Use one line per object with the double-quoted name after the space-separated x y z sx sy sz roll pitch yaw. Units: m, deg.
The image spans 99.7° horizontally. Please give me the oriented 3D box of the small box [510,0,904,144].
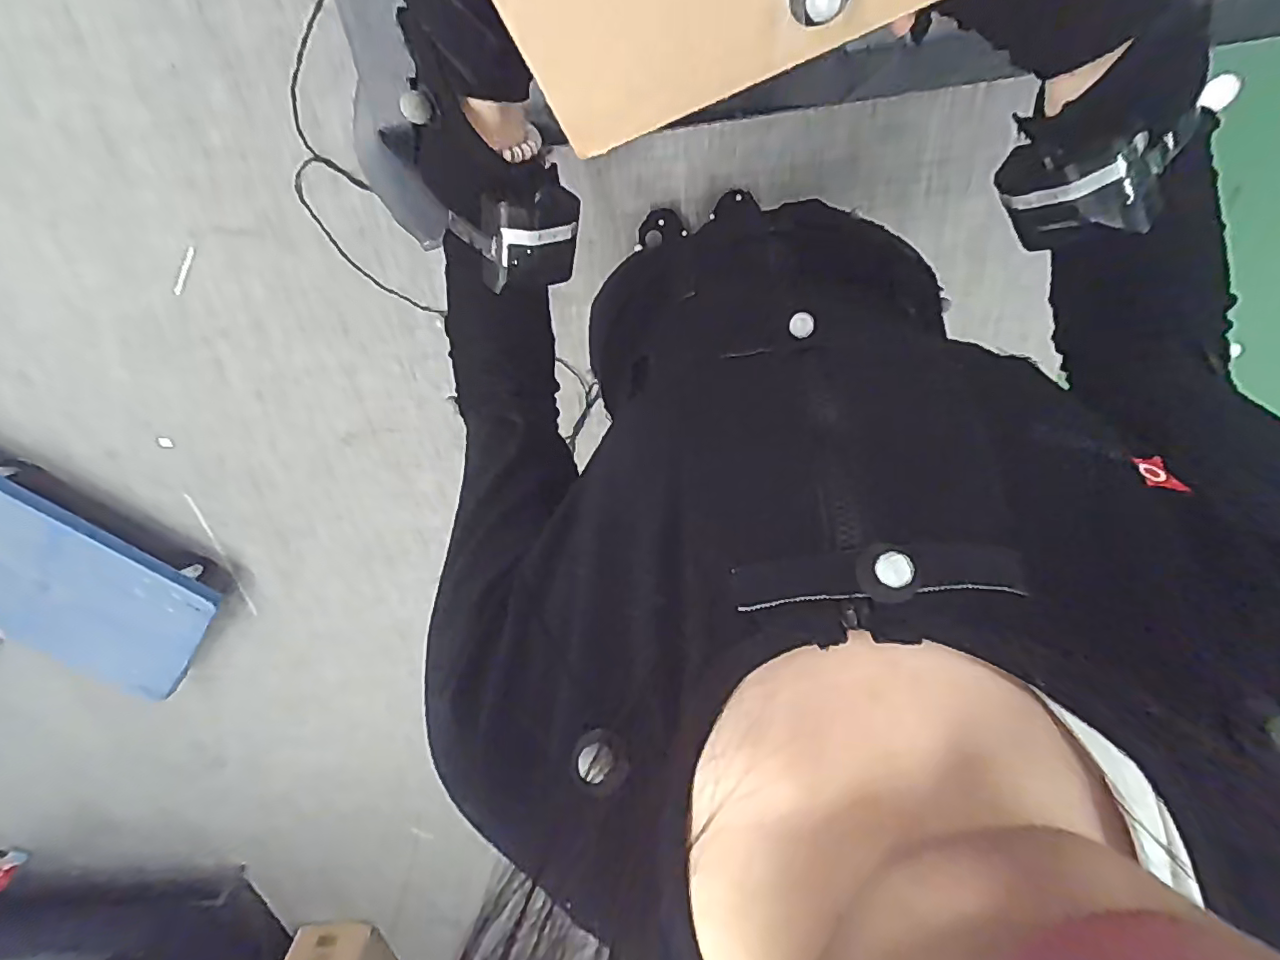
0.014 -0.264 0.167 0.168 0.179 0.176 -14 154 18 "small box"
